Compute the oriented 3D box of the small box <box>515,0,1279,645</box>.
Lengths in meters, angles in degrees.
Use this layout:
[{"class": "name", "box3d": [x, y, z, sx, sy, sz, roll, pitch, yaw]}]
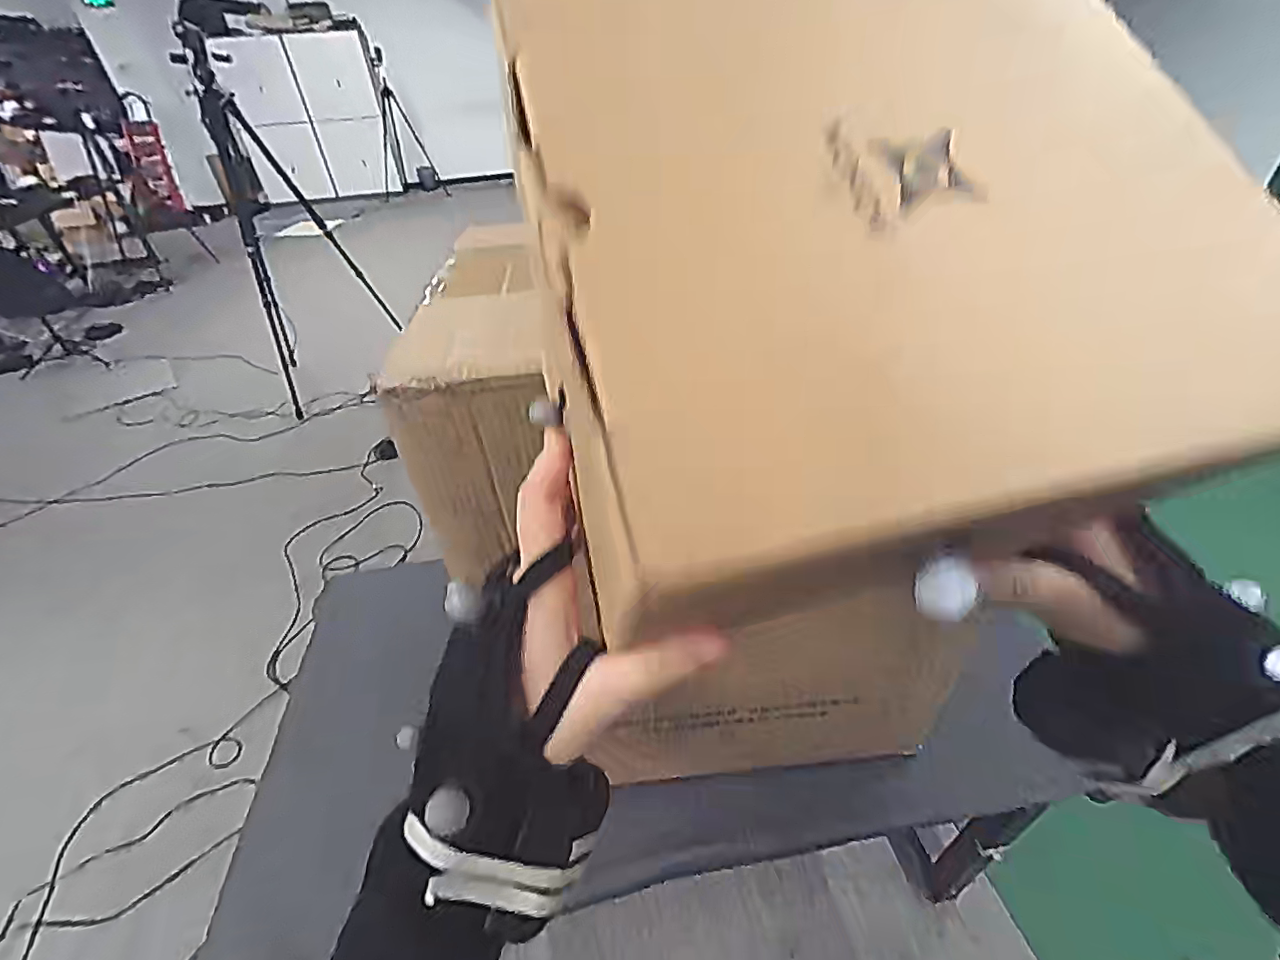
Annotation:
[{"class": "small box", "box3d": [0.061, -0.042, 0.208, 0.179, 0.176, 0.168, -12, 69, -8]}]
